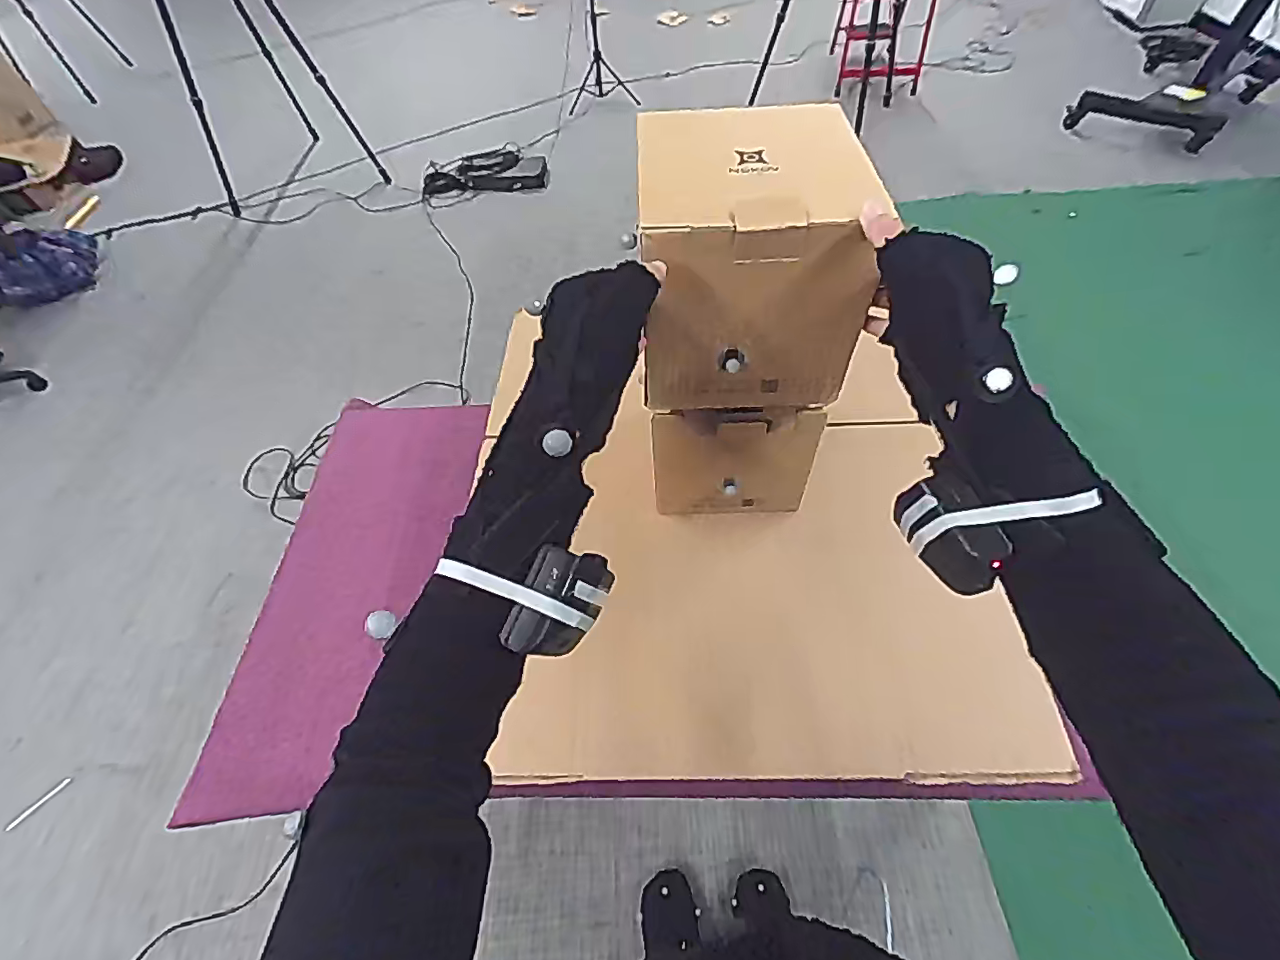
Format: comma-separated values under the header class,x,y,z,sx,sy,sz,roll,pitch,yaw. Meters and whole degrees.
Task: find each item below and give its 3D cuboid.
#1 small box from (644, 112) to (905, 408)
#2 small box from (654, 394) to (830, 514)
class,x,y,z,sx,sy,sz,roll,pitch,yaw
small box,0.087,-0.180,0.455,0.168,0.176,0.179,-2,55,0
small box,0.099,-0.079,0.614,0.168,0.176,0.179,-1,54,3
